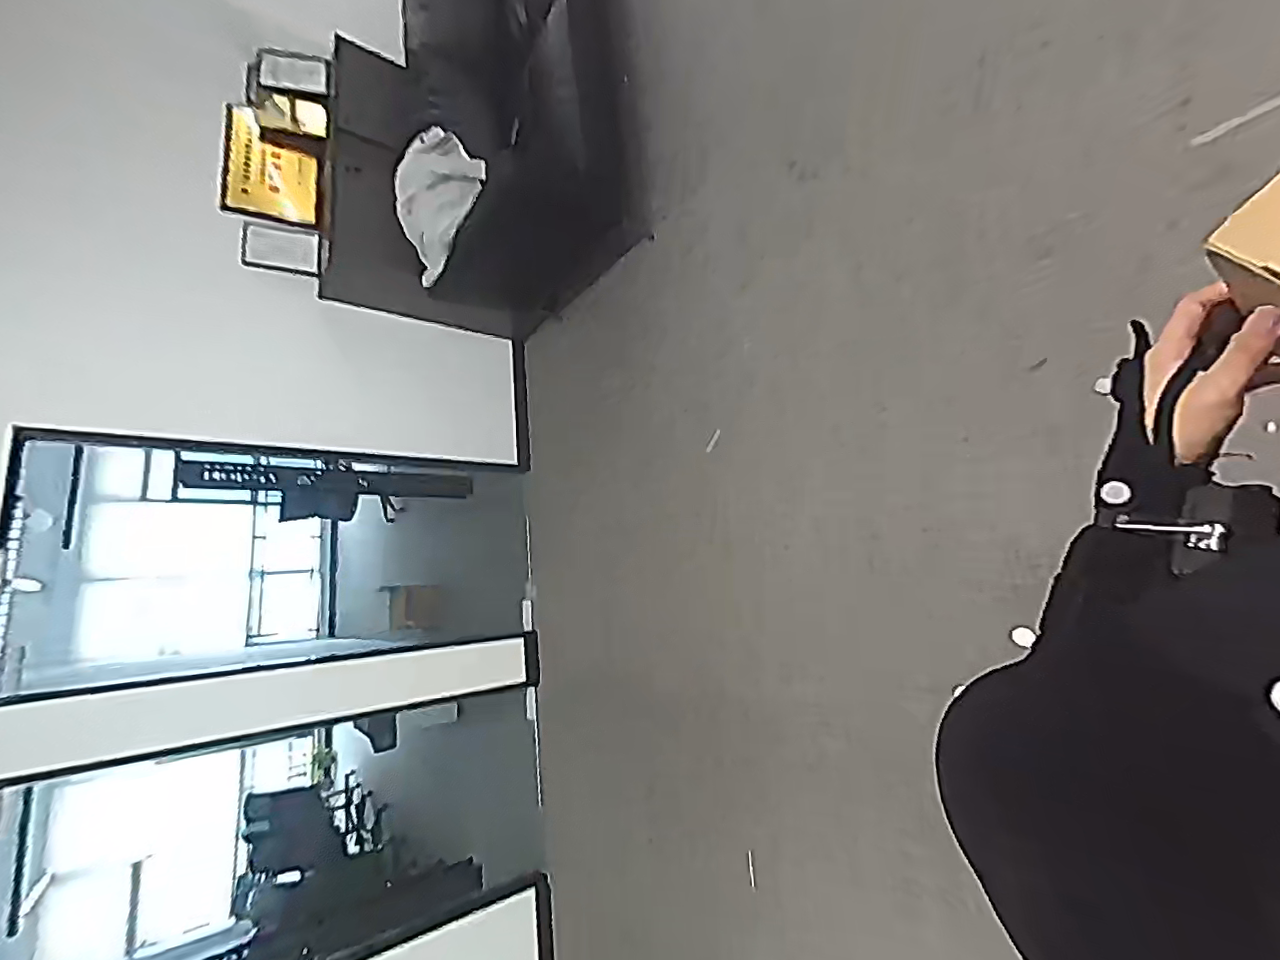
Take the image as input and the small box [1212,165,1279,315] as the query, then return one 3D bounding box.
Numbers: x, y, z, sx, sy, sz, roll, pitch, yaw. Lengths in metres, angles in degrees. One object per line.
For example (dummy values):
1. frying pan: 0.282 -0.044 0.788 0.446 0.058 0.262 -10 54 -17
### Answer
1. small box: 0.433 -0.117 0.231 0.179 0.176 0.168 -53 39 33
